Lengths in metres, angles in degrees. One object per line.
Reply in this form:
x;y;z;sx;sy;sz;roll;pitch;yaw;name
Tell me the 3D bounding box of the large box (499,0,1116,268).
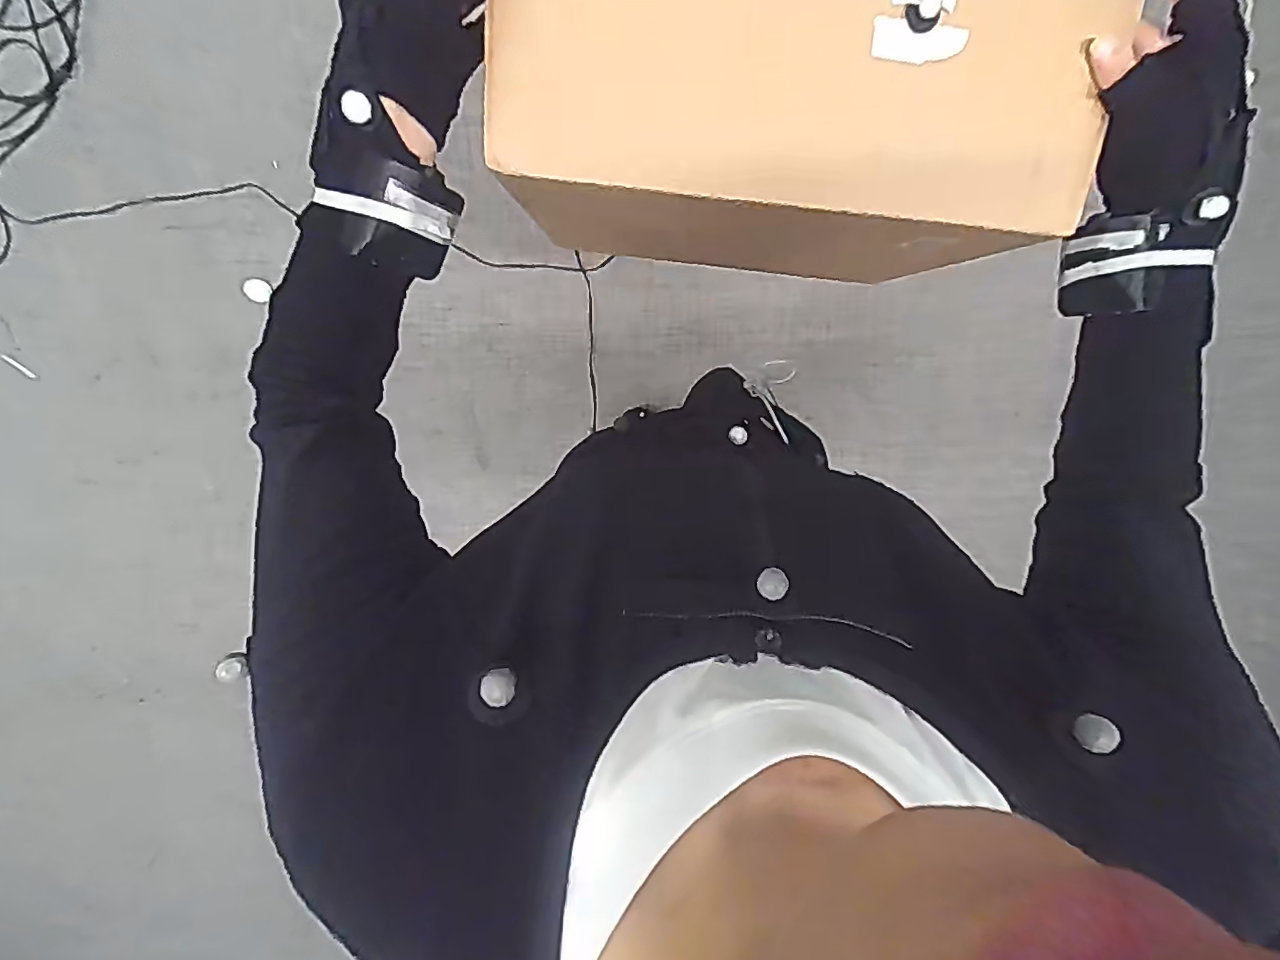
0.109;-0.386;0.483;0.408;0.320;0.320;5;105;-2;large box
